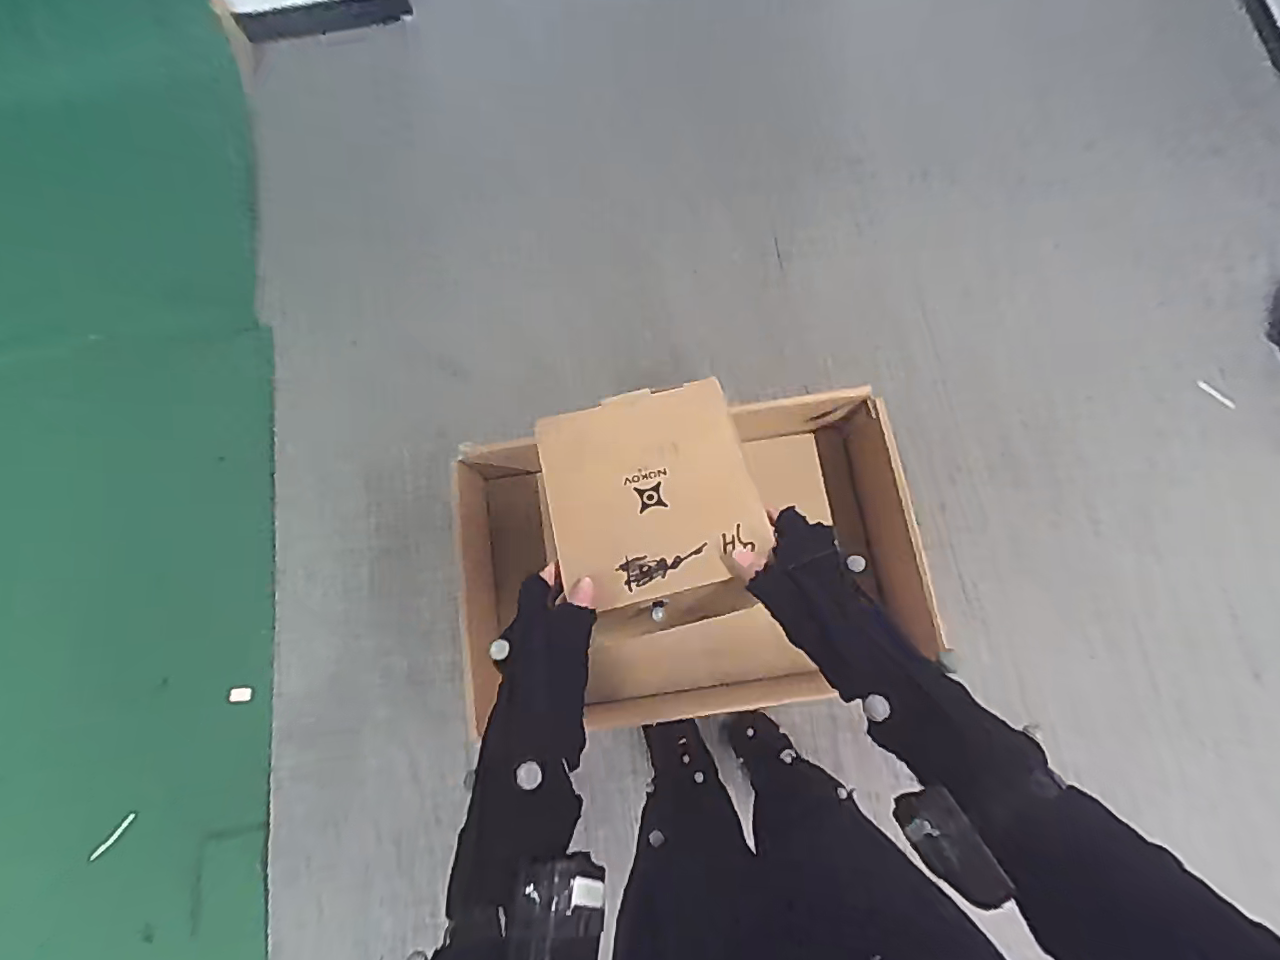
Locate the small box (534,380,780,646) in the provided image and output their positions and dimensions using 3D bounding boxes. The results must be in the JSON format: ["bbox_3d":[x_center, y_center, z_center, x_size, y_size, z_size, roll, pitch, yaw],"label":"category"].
[{"bbox_3d":[0.013,0.040,0.503,0.168,0.176,0.179,-16,66,0],"label":"small box"}]
